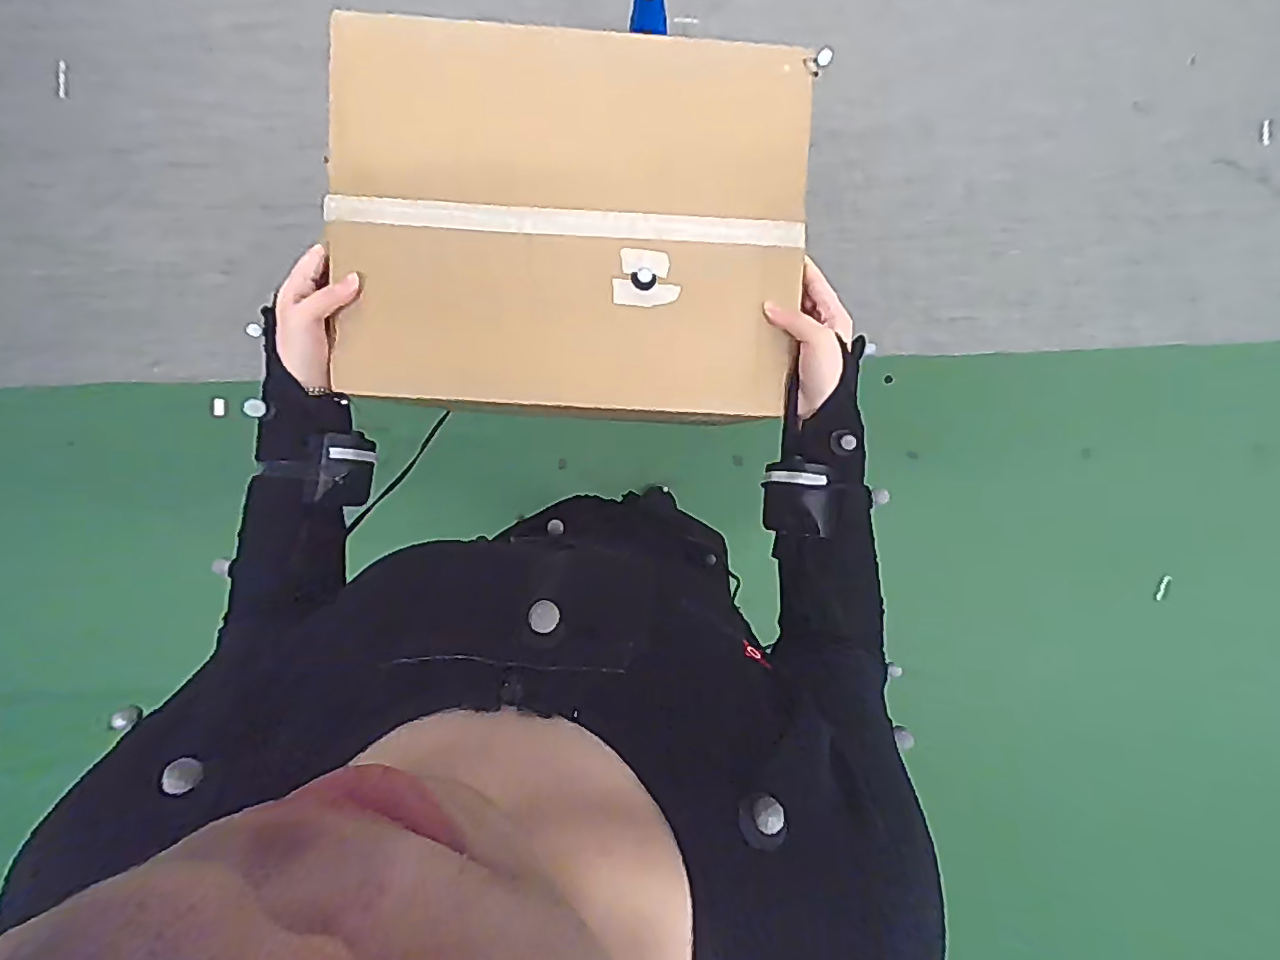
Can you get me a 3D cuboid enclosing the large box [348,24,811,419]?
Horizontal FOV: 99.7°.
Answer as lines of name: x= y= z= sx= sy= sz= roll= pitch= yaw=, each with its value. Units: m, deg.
large box: x=-0.062 y=-0.236 z=0.622 sx=0.408 sy=0.320 sz=0.320 roll=2 pitch=95 yaw=-3
